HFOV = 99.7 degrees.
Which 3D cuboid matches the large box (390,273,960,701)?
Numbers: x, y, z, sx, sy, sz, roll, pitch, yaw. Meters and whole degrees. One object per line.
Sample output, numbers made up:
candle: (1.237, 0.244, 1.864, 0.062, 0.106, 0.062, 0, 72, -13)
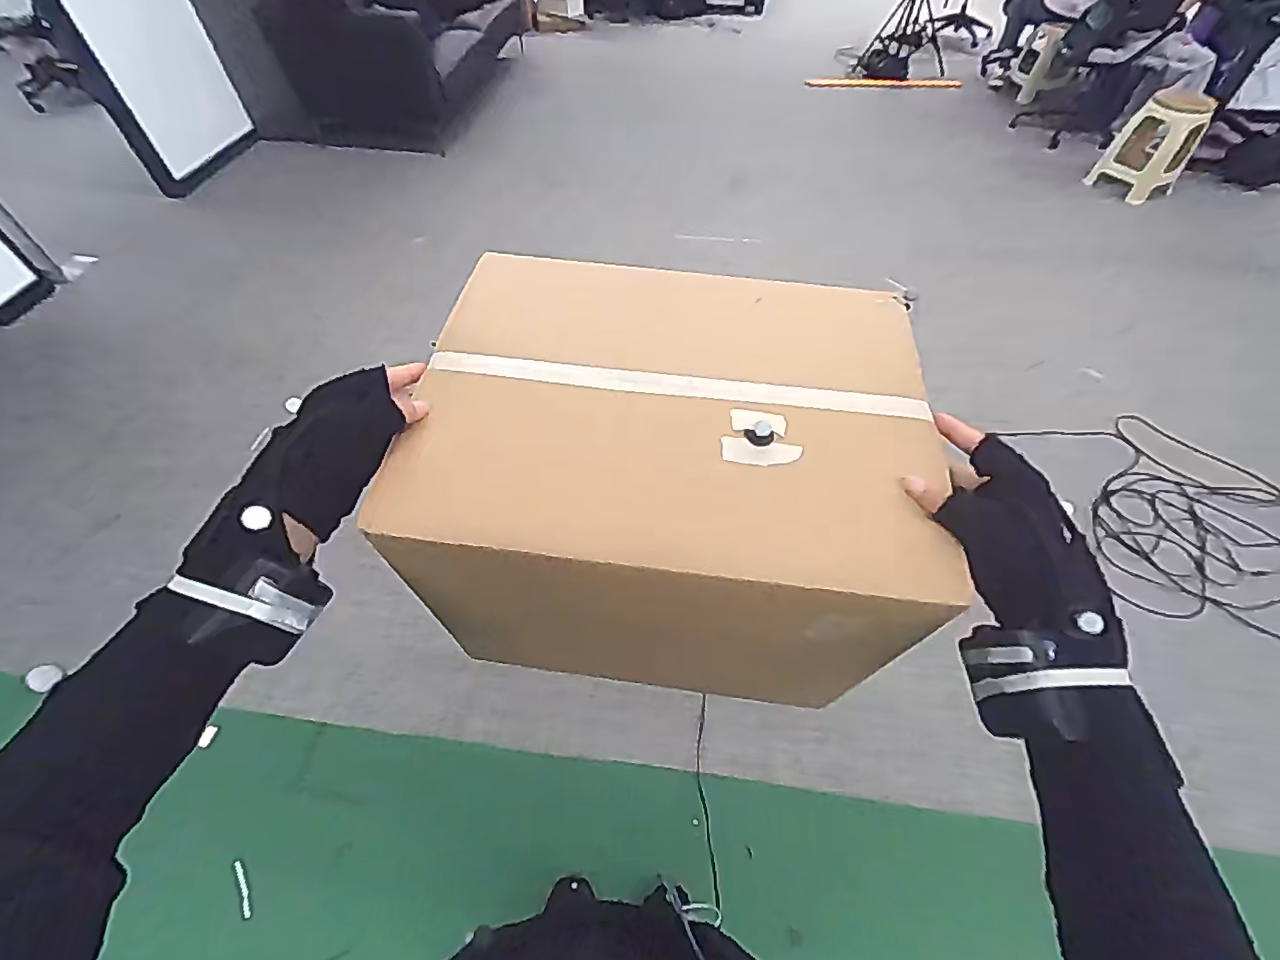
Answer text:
large box: (0.029, 0.020, 0.574, 0.408, 0.320, 0.320, 7, 56, 2)
